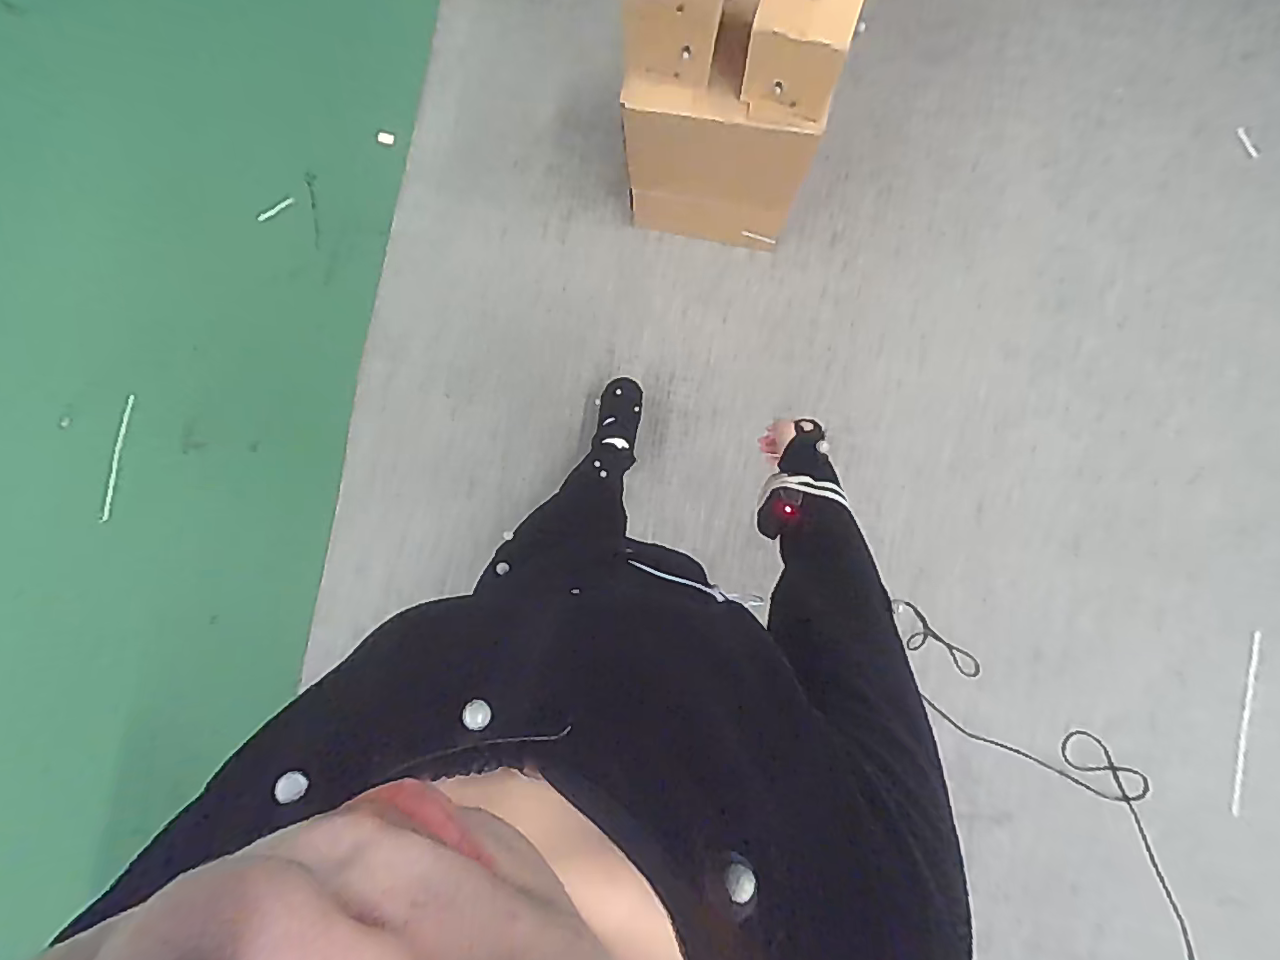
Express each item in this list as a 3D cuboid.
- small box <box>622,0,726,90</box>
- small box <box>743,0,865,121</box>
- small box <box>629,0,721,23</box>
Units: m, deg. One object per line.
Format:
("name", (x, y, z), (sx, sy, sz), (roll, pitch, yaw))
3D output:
("small box", (0.068, -0.861, 0.986), (0.168, 0.176, 0.179), (12, 89, 0))
("small box", (0.294, -0.802, 0.974), (0.168, 0.176, 0.179), (17, 89, 4))
("small box", (0.061, -0.854, 0.822), (0.168, 0.176, 0.179), (10, 90, 0))
